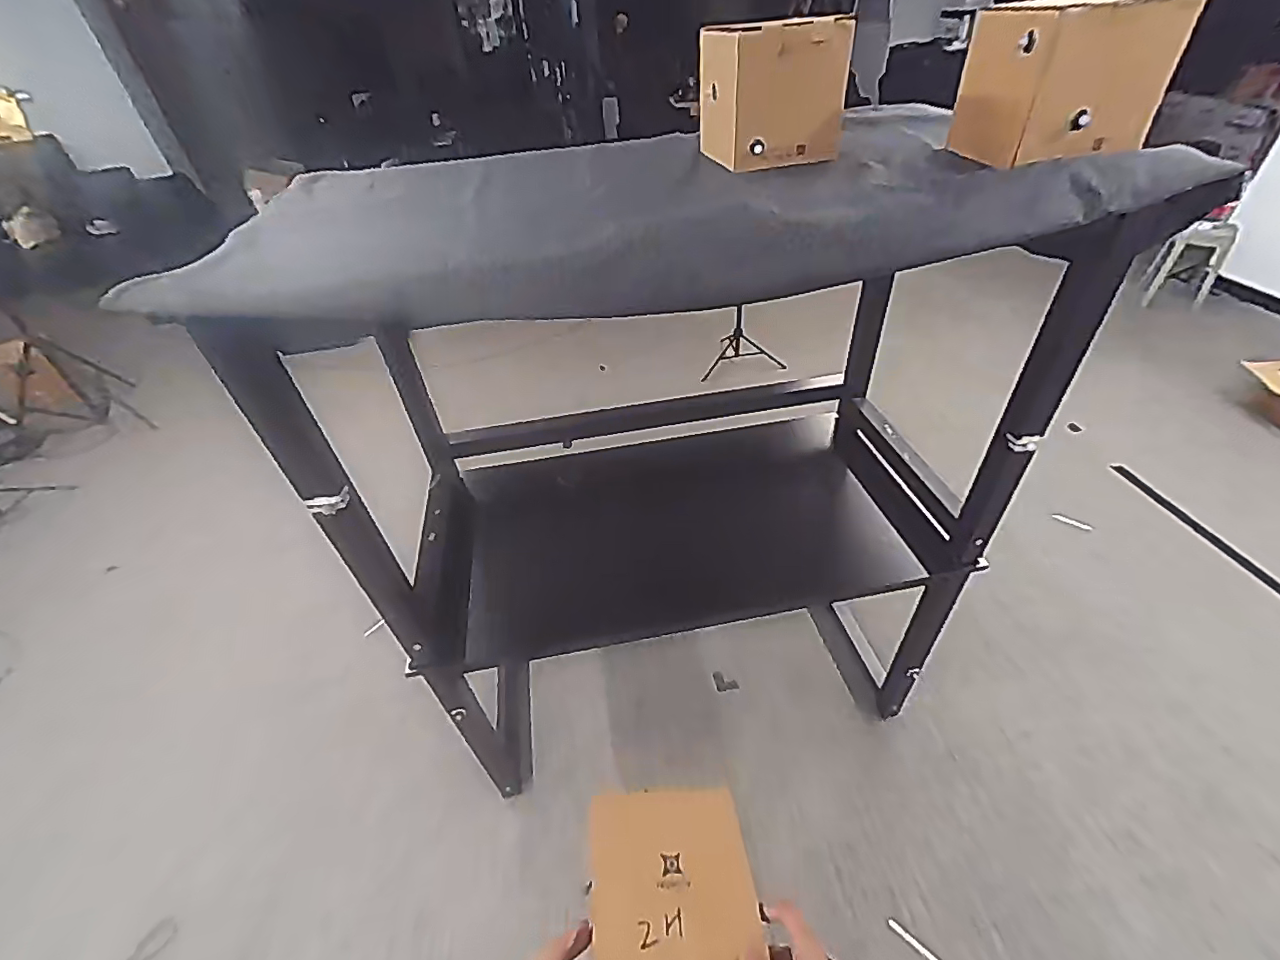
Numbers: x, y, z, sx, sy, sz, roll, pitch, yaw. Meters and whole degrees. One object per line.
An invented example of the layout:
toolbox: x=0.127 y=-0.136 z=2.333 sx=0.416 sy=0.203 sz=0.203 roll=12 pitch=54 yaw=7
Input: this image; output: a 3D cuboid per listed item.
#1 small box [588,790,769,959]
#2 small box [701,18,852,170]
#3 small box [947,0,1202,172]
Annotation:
small box: x=0.028 y=0.477 z=0.595 sx=0.168 sy=0.176 sz=0.179 roll=1 pitch=28 yaw=-5
small box: x=0.197 y=-0.587 z=0.829 sx=0.168 sy=0.176 sz=0.179 roll=-11 pitch=41 yaw=-7
small box: x=0.546 y=-0.522 z=0.717 sx=0.168 sy=0.176 sz=0.179 roll=-7 pitch=41 yaw=-1
